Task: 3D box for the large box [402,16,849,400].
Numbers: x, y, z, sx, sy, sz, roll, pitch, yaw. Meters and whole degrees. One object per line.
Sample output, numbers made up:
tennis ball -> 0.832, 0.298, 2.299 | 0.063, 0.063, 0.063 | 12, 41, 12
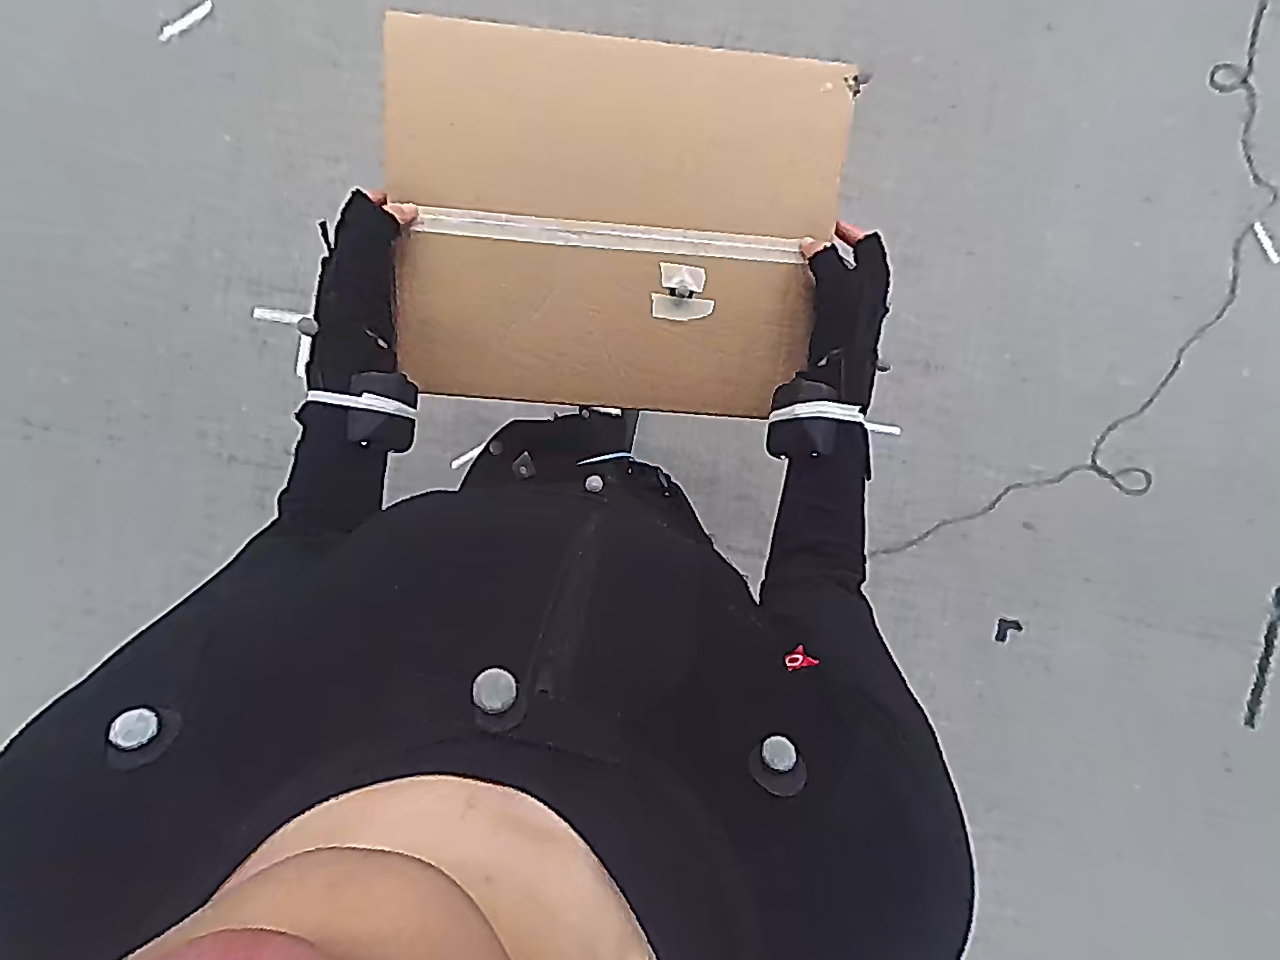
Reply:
large box -> -0.026, -0.275, 0.654 | 0.408, 0.320, 0.320 | 4, 105, -4
